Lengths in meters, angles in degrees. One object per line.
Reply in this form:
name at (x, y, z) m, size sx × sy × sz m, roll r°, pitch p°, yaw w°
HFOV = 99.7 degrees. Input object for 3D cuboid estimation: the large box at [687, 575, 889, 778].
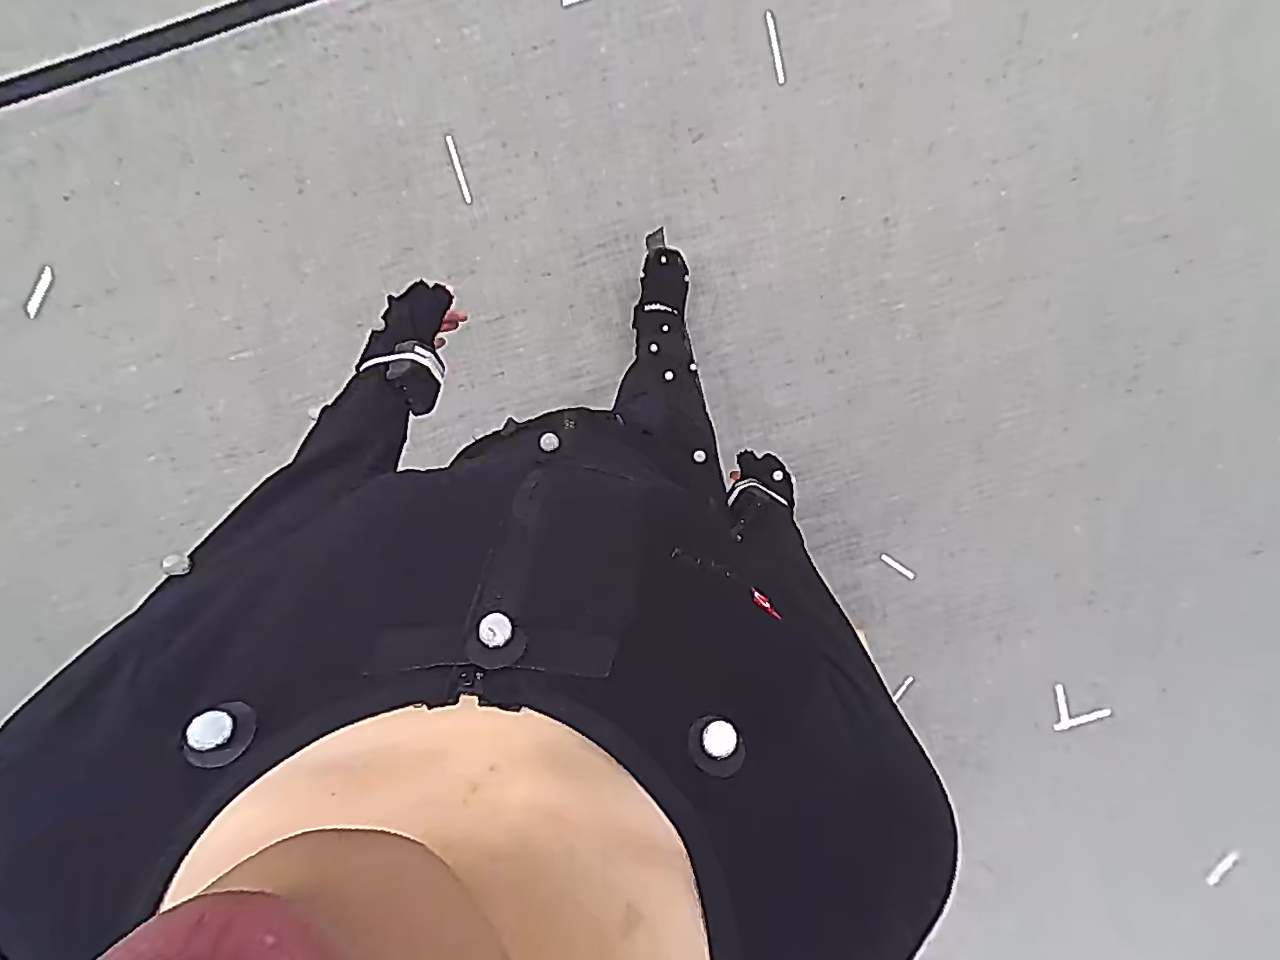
large box at (0.374, 0.505, 1.449) m, size 0.408 × 0.320 × 0.320 m, roll -19°, pitch 101°, yaw 3°
